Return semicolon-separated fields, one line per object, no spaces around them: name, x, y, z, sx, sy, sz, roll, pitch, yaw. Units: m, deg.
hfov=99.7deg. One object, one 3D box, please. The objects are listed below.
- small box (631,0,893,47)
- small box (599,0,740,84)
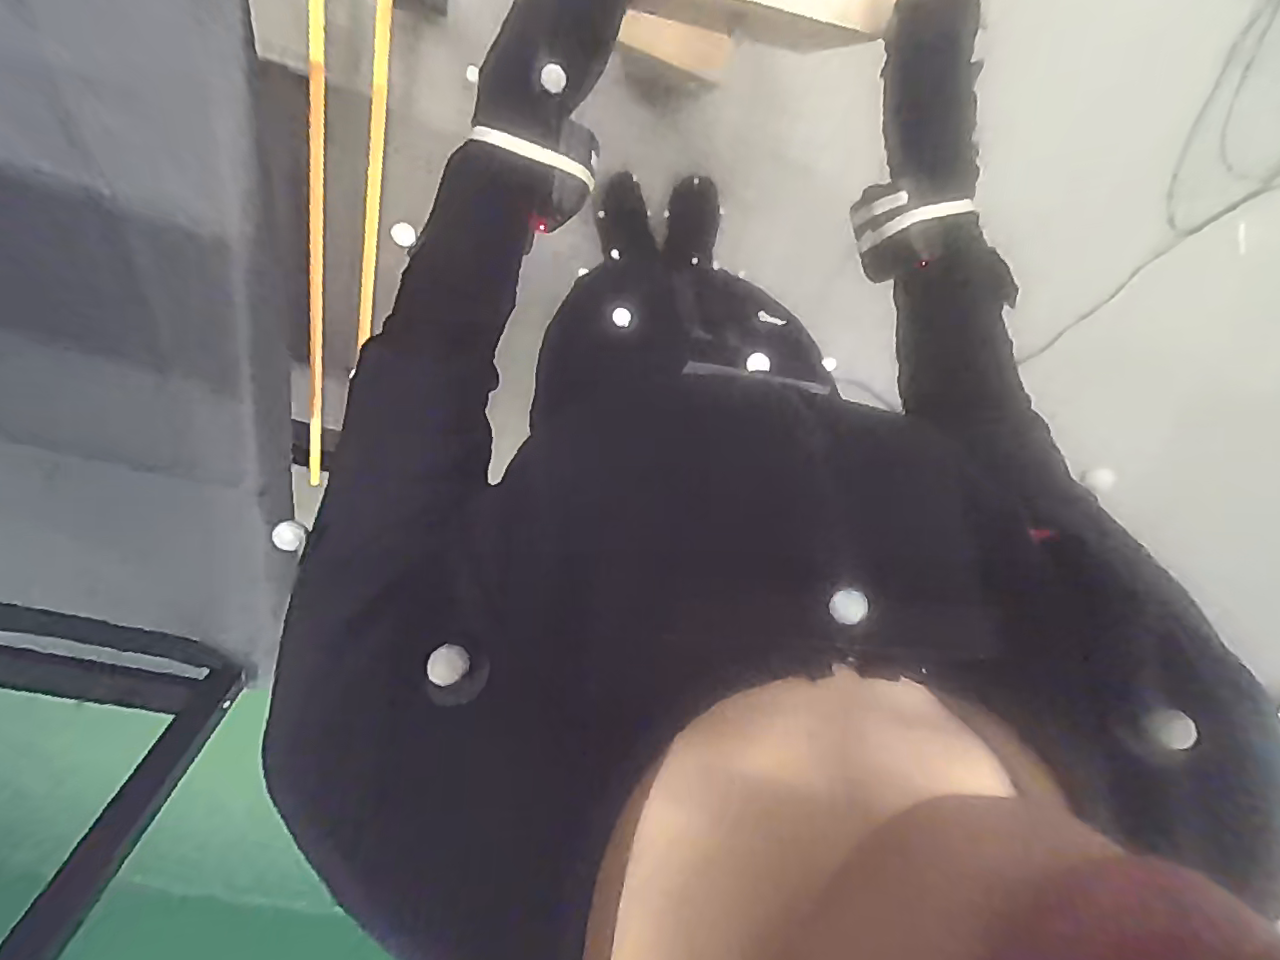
small box;0.090;-0.426;0.378;0.179;0.176;0.168;6;126;-11
small box;0.056;-0.654;0.722;0.179;0.176;0.168;16;123;-10
